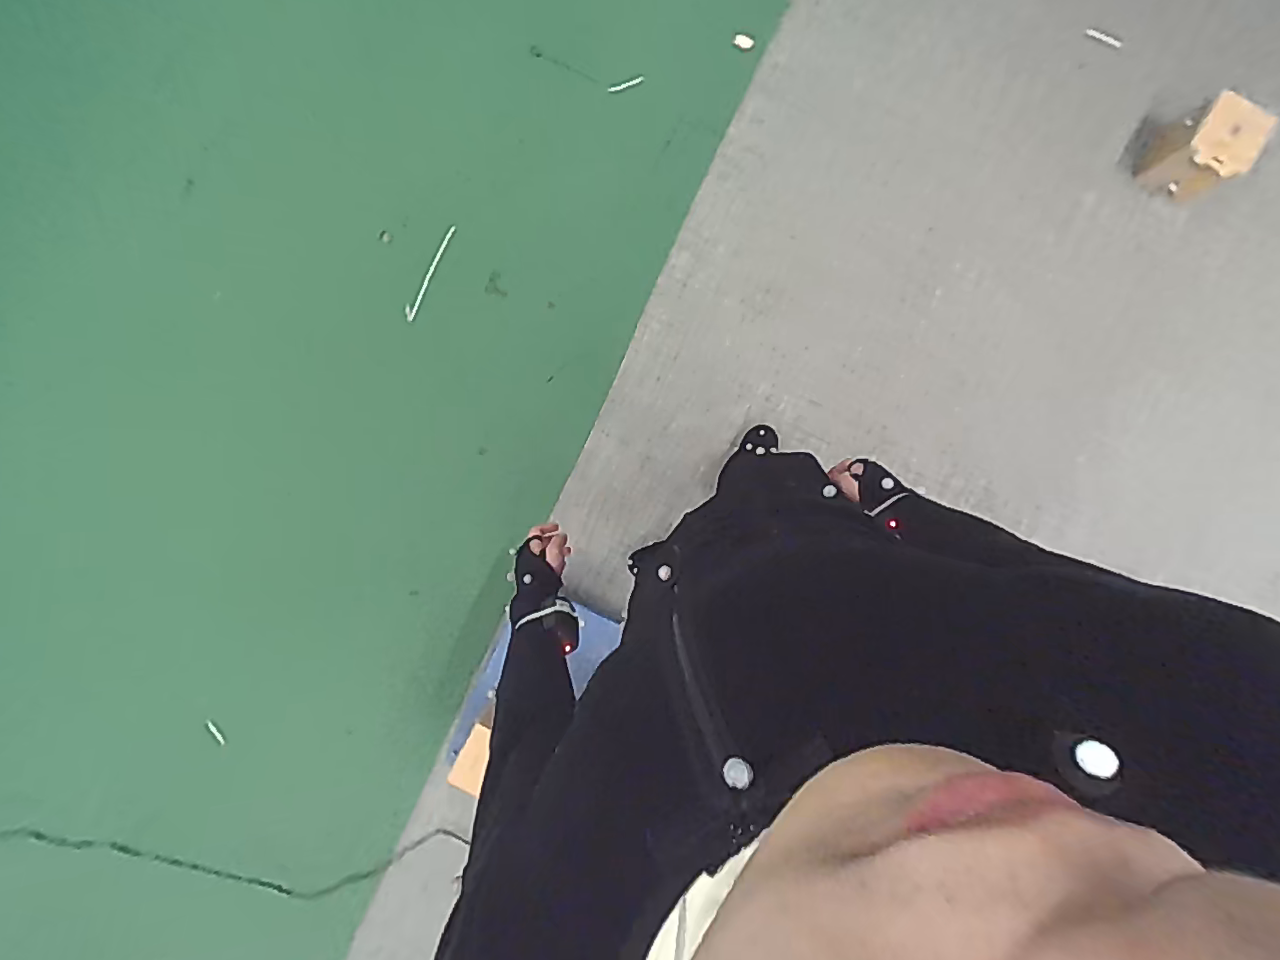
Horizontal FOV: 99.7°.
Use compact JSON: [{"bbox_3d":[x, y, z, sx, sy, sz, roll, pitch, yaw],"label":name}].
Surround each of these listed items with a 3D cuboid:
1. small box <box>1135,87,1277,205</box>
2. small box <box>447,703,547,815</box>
[{"bbox_3d":[1.533,-0.904,1.480,0.168,0.176,0.179,37,94,4],"label":"small box"},{"bbox_3d":[-0.362,0.715,1.411,0.179,0.176,0.168,28,91,1],"label":"small box"}]
